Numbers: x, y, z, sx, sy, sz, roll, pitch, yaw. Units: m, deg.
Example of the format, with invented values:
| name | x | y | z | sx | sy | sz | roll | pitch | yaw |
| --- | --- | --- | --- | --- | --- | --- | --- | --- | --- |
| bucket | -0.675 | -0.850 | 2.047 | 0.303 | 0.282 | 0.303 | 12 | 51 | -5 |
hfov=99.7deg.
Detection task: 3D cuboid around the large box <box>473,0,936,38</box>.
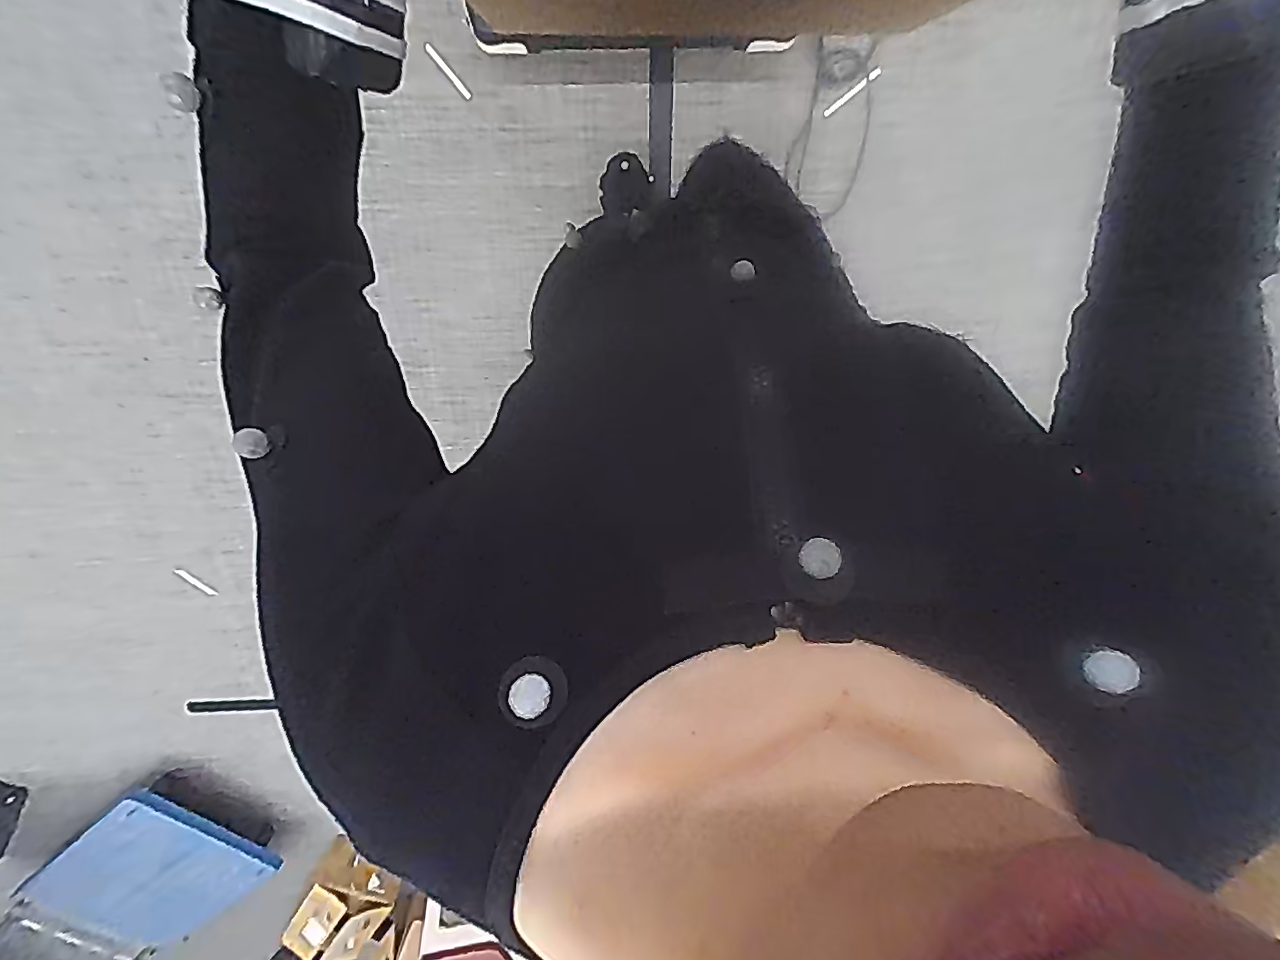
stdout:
| name | x | y | z | sx | sy | sz | roll | pitch | yaw |
| --- | --- | --- | --- | --- | --- | --- | --- | --- | --- |
| large box | 0.058 | -0.499 | 0.324 | 0.408 | 0.320 | 0.320 | -1 | 120 | -1 |
